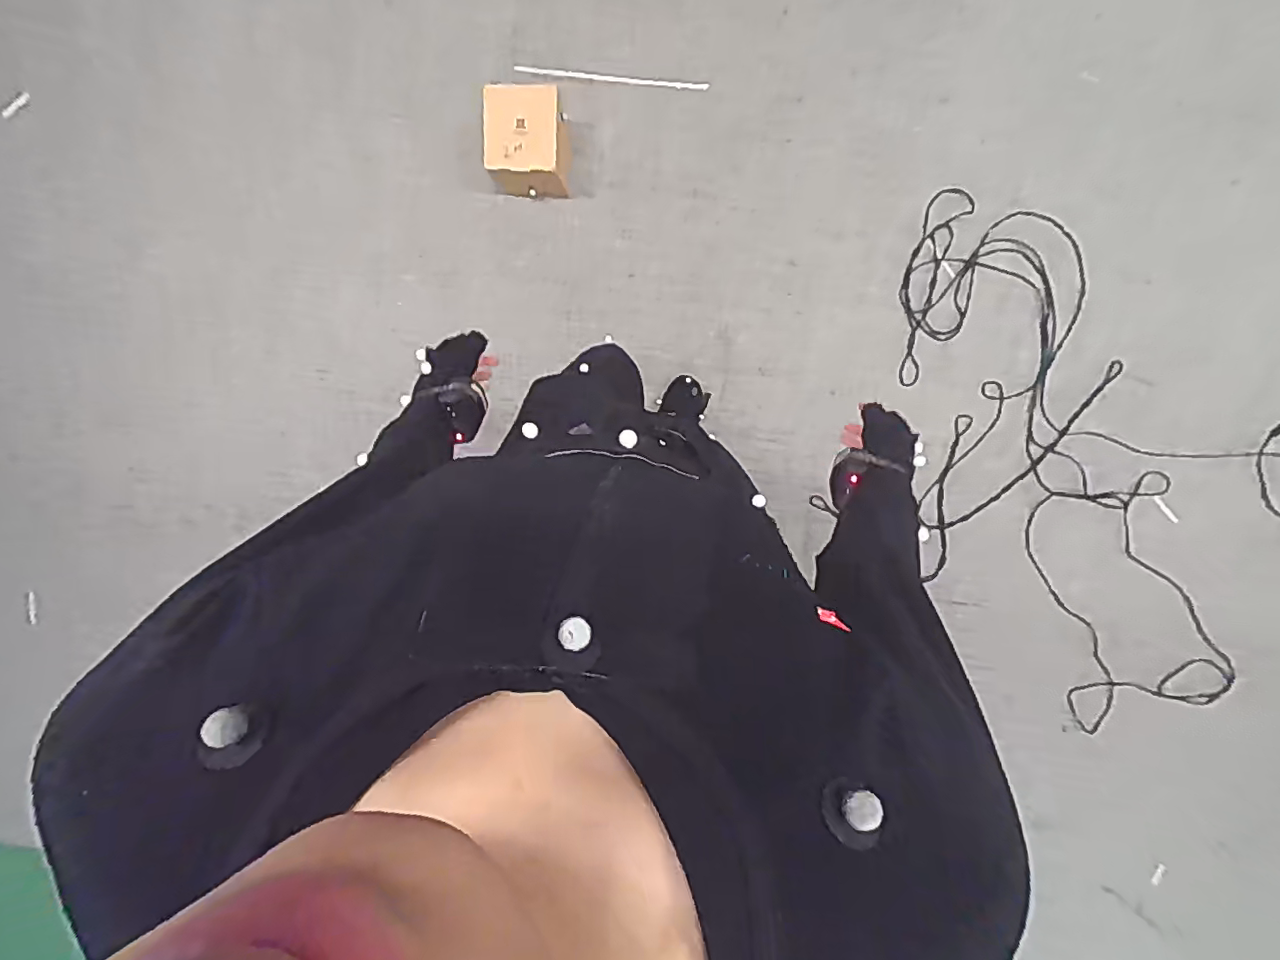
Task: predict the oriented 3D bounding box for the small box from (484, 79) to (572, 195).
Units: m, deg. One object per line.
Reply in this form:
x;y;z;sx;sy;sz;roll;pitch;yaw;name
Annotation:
-0.255;-0.793;1.263;0.168;0.176;0.179;4;100;3;small box
